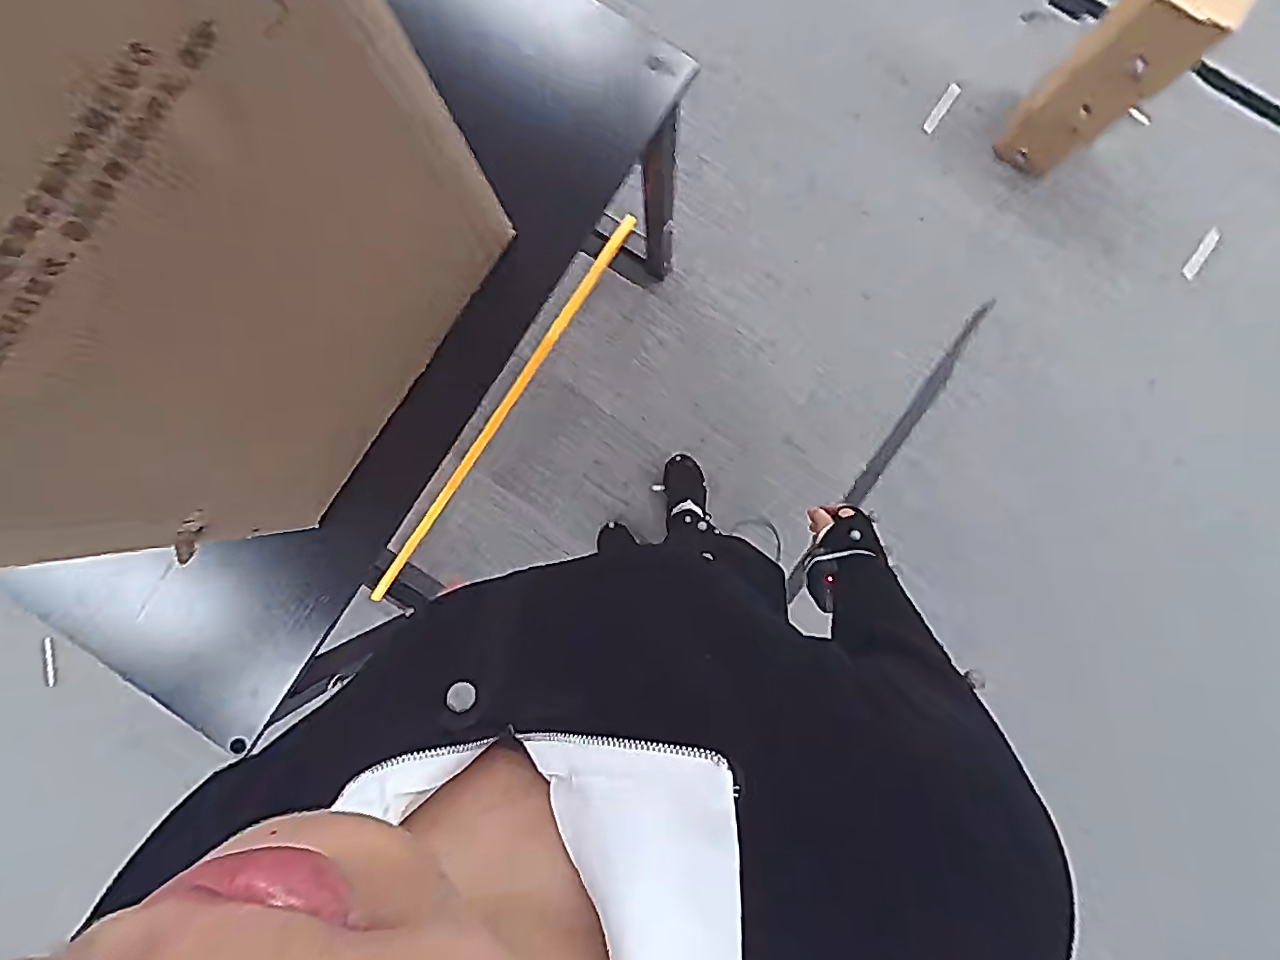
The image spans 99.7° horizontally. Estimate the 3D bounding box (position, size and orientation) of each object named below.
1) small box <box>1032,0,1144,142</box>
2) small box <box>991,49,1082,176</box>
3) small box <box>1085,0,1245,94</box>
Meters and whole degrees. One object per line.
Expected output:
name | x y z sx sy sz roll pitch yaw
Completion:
small box | 1.051 -0.926 1.235 0.168 0.176 0.179 32 91 3
small box | 1.062 -0.940 1.399 0.168 0.176 0.179 32 91 3
small box | 1.043 -0.928 1.069 0.168 0.176 0.179 27 90 3
